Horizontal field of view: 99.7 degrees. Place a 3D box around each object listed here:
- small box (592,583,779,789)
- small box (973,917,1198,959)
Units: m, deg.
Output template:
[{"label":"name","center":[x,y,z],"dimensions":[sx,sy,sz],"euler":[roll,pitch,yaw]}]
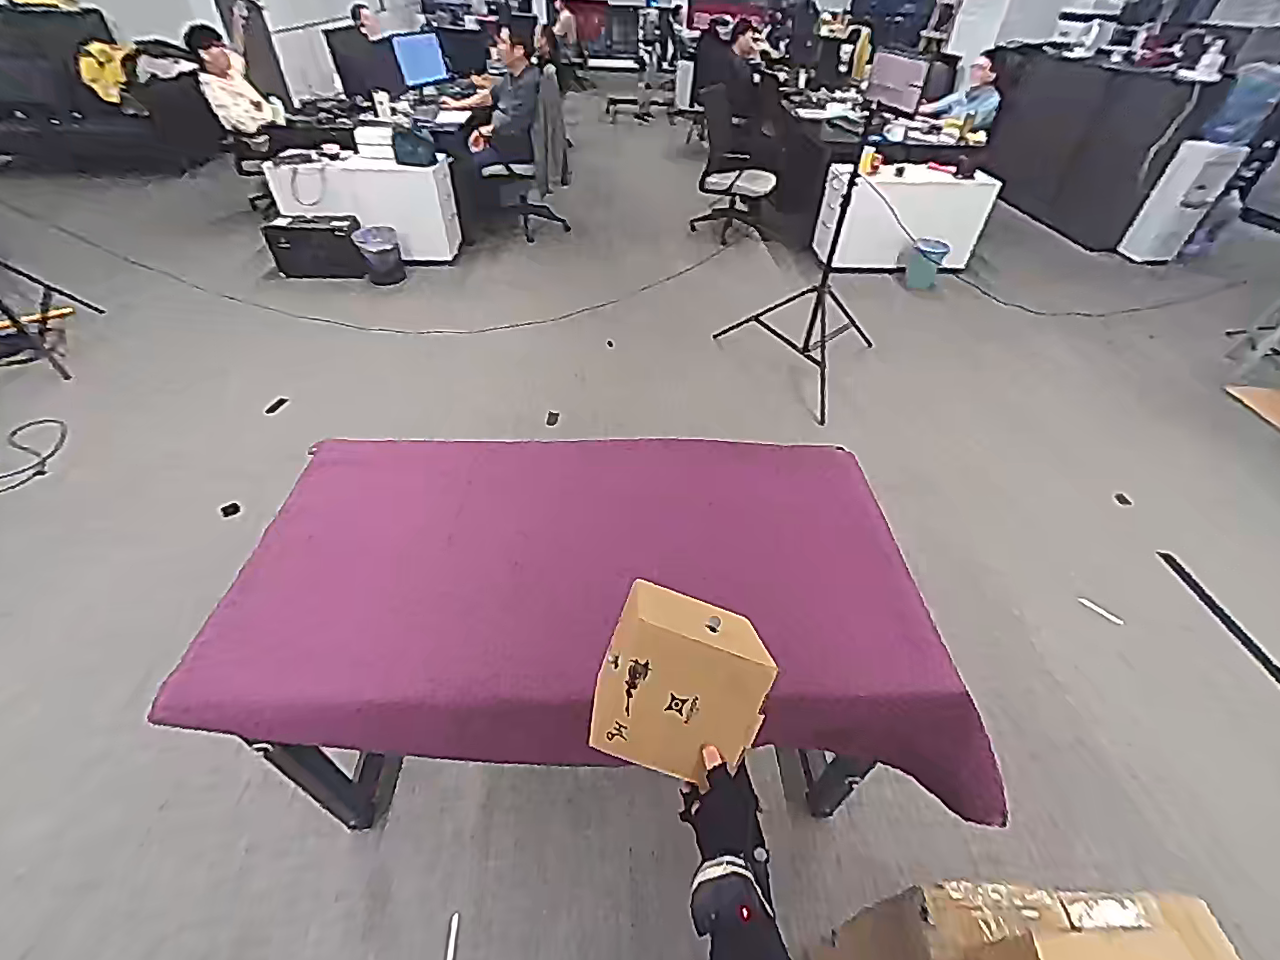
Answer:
[{"label":"small box","center":[0.049,0.251,0.702],"dimensions":[0.179,0.168,0.176],"euler":[20,4,-4]},{"label":"small box","center":[0.507,0.601,0.587],"dimensions":[0.168,0.176,0.179],"euler":[-1,44,-1]}]
